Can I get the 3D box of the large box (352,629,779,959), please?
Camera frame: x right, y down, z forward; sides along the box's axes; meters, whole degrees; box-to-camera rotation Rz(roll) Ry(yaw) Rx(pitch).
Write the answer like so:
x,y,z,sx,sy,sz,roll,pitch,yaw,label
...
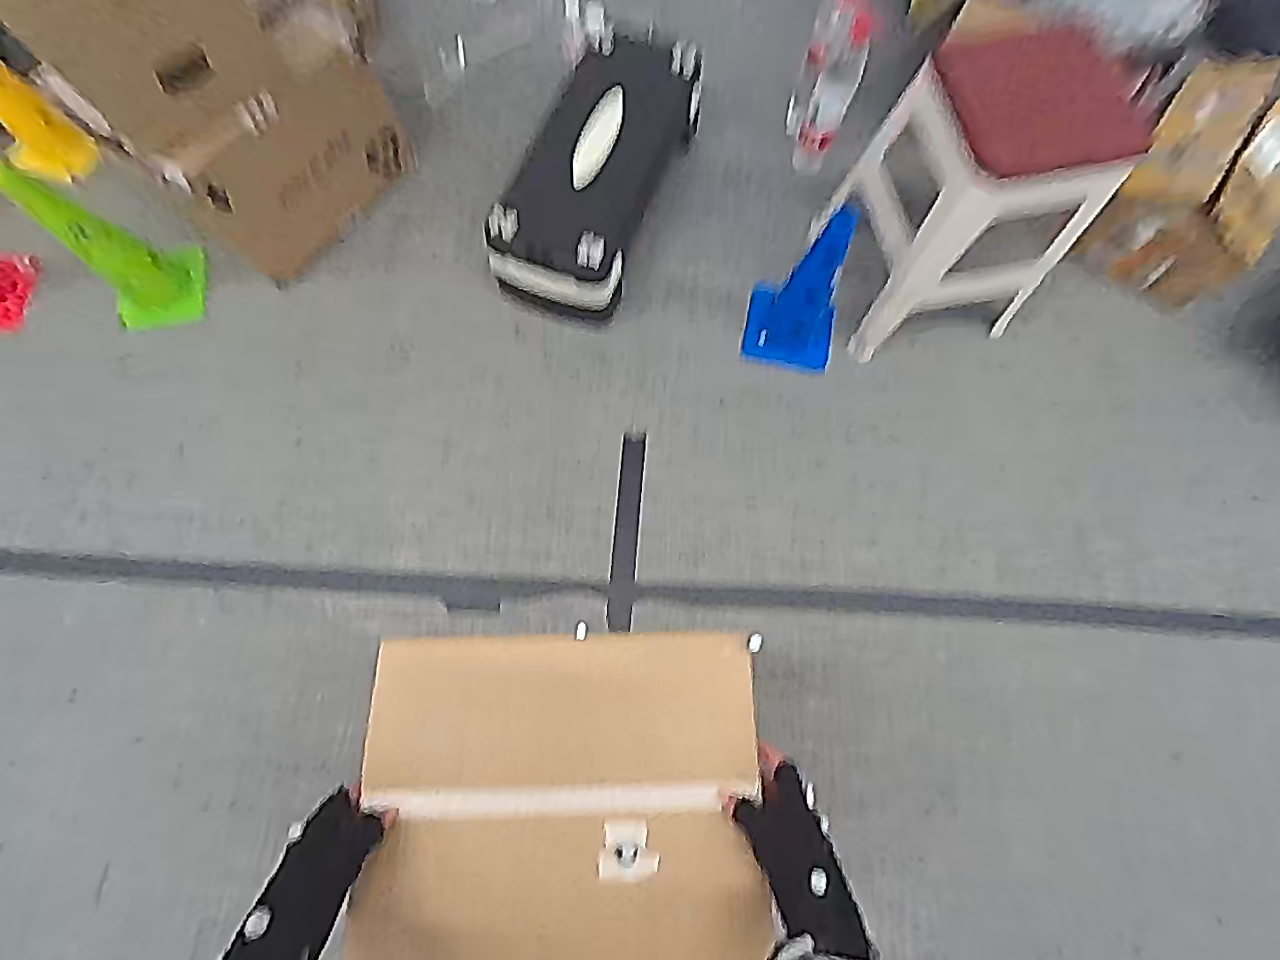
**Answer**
x,y,z,sx,sy,sz,roll,pitch,yaw,label
-0.074,0.365,0.683,0.408,0.320,0.320,-1,72,0,large box
